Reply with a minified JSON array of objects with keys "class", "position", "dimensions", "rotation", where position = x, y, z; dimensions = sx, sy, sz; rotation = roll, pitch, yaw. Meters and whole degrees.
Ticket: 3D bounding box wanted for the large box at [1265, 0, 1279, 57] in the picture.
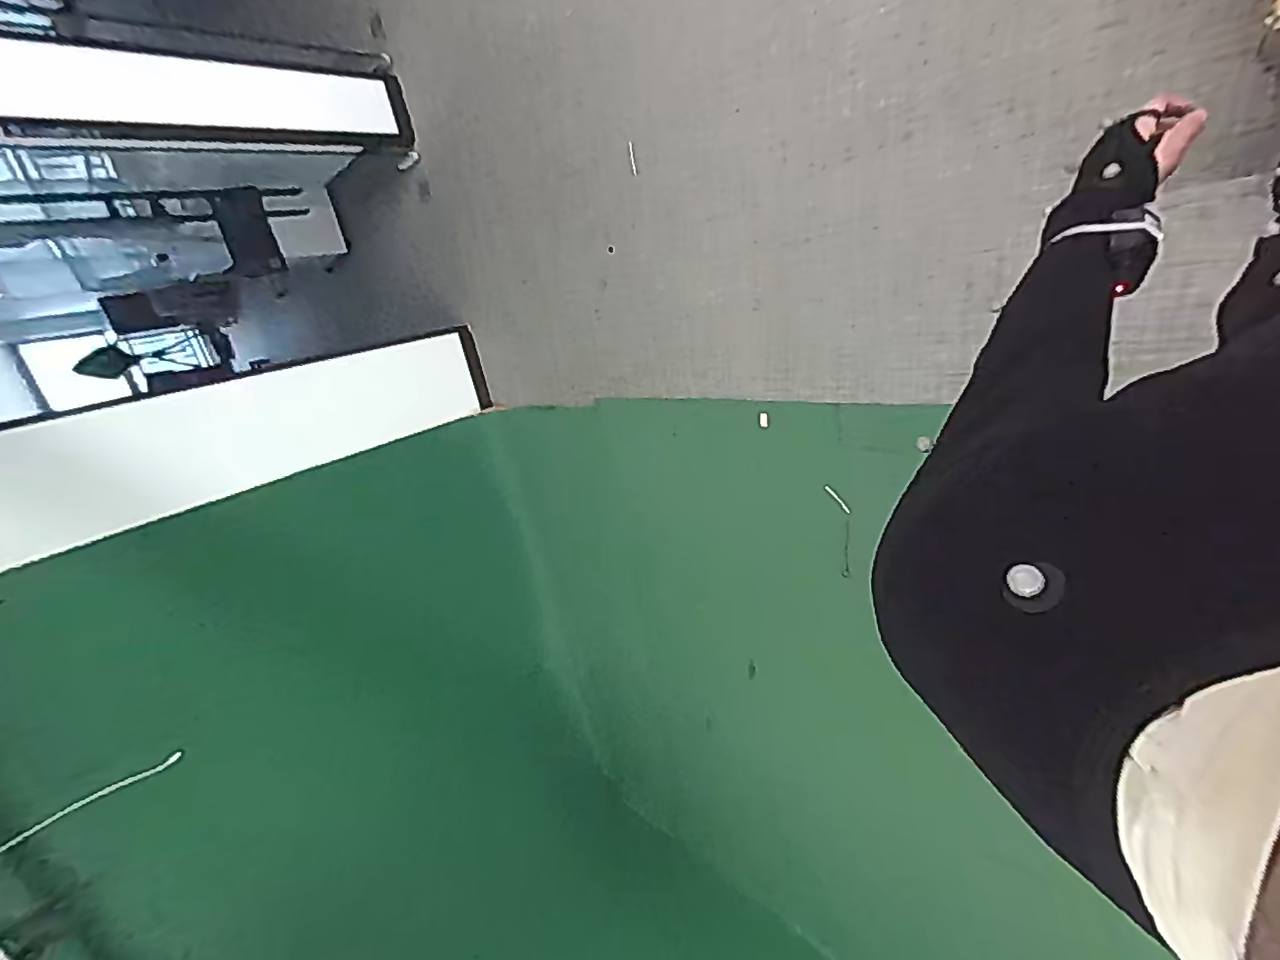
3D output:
[{"class":"large box","position":[1.130,-0.826,0.690],"dimensions":[0.408,0.320,0.320],"rotation":[7,115,45]}]
